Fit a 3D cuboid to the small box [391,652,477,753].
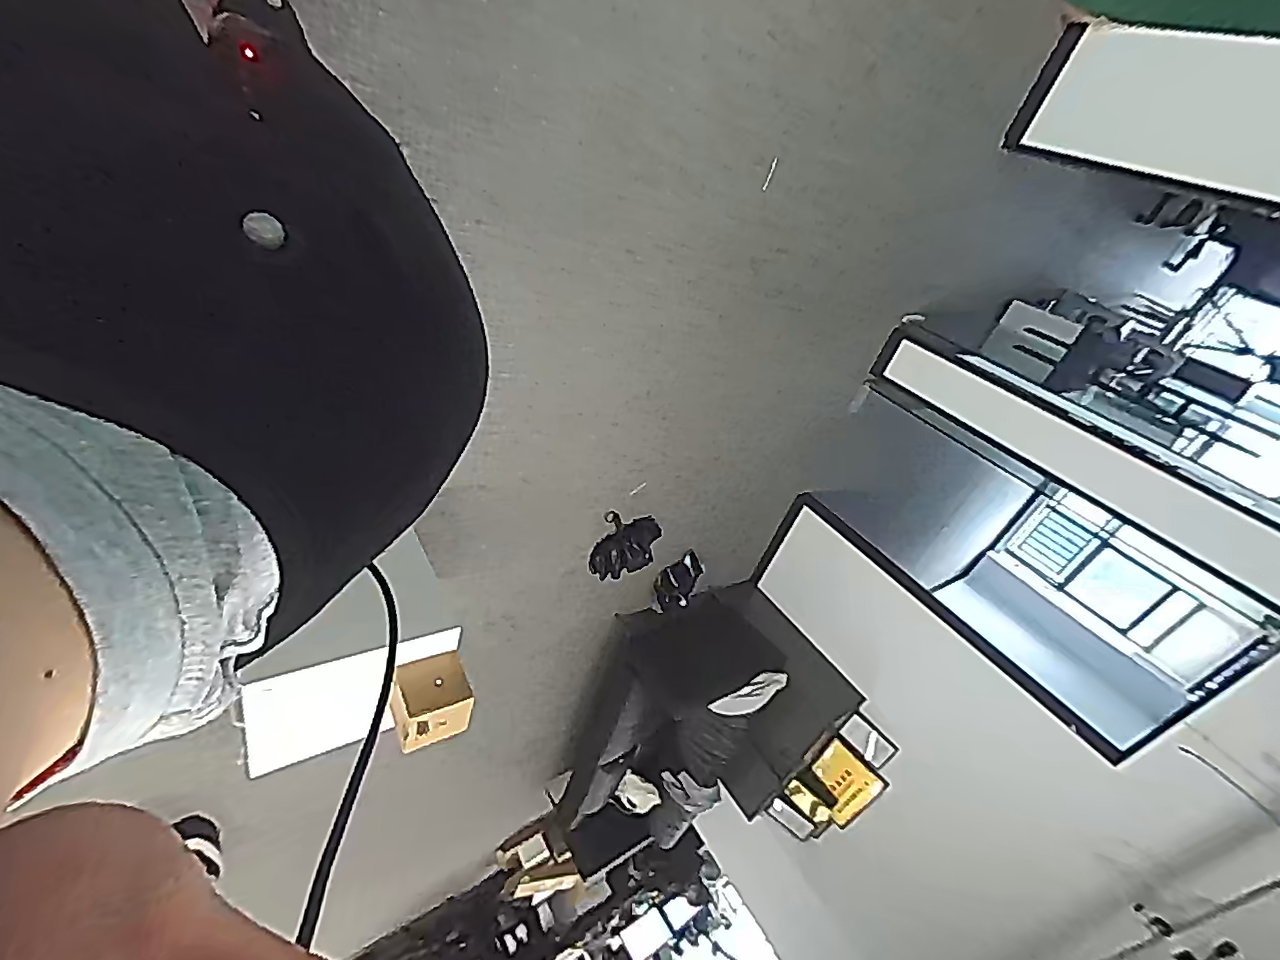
[{"bbox_3d":[-0.585,0.616,1.517,0.179,0.176,0.168,-7,131,-39],"label":"small box"}]
